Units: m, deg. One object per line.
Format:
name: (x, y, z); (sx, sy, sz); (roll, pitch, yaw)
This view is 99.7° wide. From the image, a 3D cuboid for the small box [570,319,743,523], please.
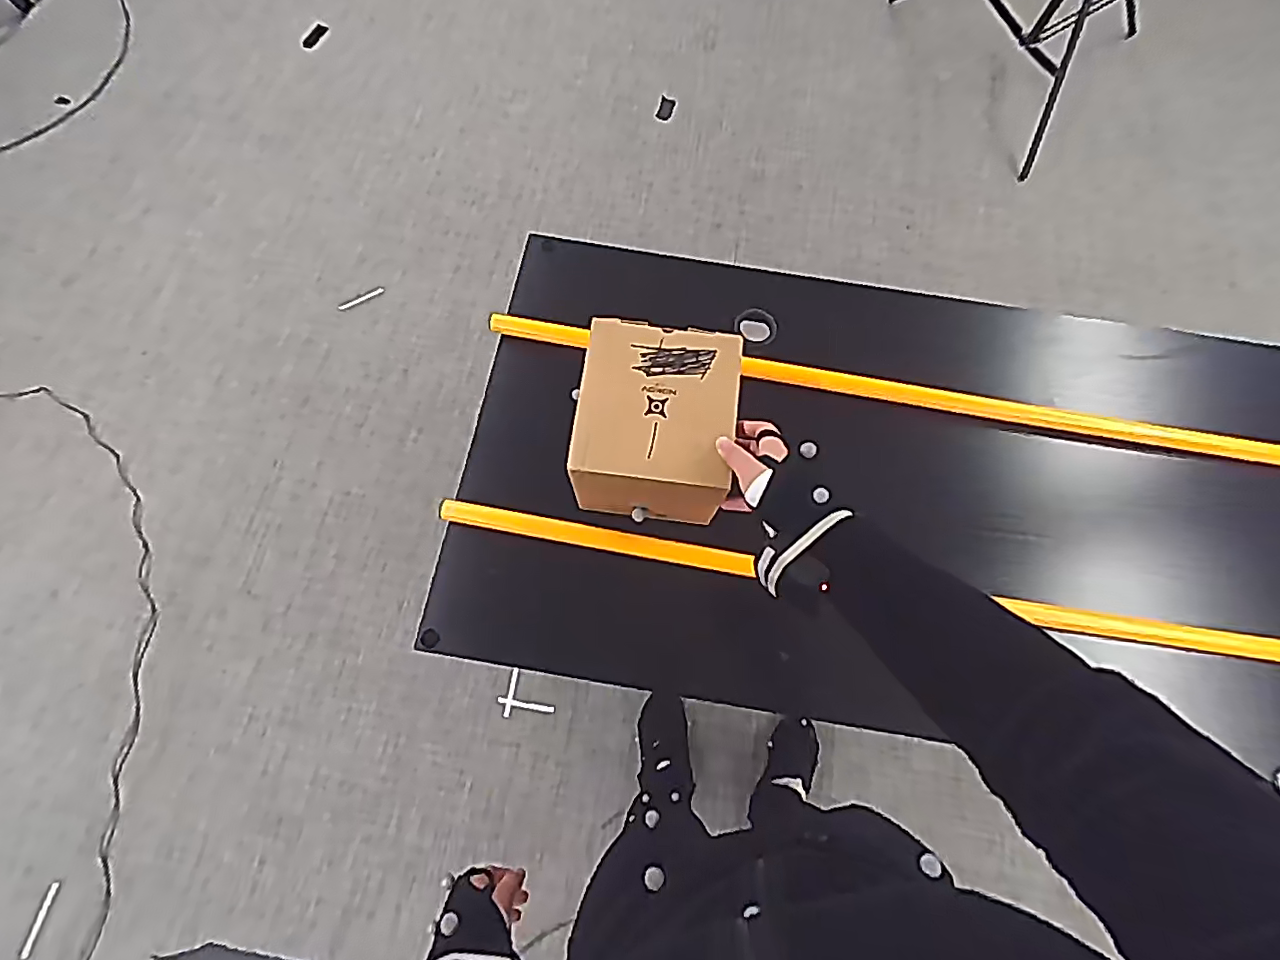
small box: (0.018, -0.060, 0.640); (0.168, 0.176, 0.179); (7, 73, 1)
